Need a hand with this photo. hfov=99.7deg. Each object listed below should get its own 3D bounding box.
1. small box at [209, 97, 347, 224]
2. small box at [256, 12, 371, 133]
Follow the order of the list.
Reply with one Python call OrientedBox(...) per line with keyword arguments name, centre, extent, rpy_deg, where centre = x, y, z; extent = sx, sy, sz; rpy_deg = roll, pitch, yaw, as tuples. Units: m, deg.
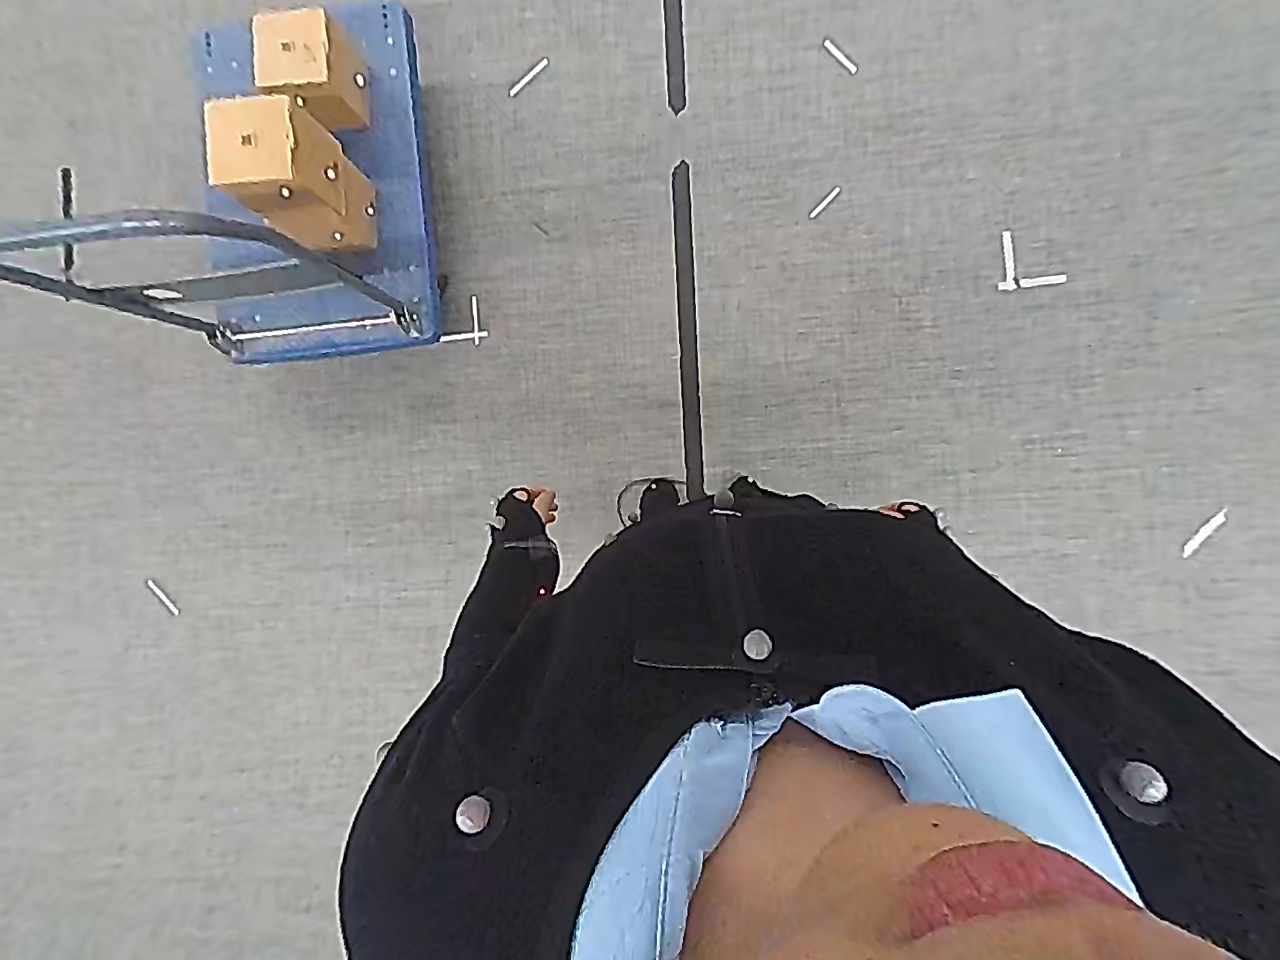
OrientedBox(name="small box", centre=(-0.749, -0.657, 1.132), extent=(0.179, 0.176, 0.168), rpy_deg=(-3, 90, 3))
OrientedBox(name="small box", centre=(-0.774, -0.963, 1.294), extent=(0.179, 0.176, 0.168), rpy_deg=(-1, 91, 4))
